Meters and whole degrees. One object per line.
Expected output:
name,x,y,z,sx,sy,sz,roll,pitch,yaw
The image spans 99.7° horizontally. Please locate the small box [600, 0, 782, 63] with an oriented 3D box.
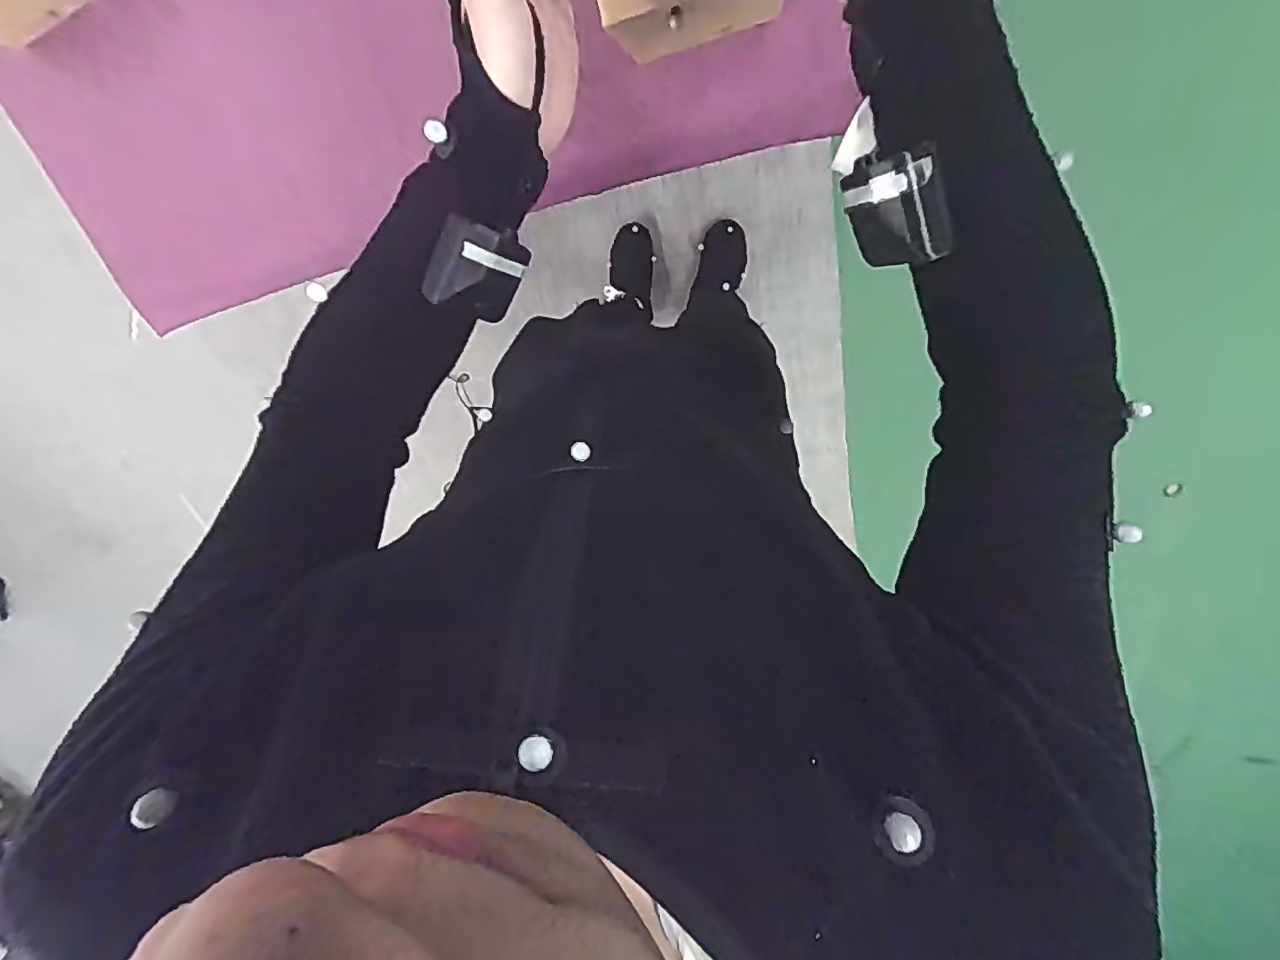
small box,0.043,-0.529,0.501,0.168,0.176,0.179,-6,116,15
